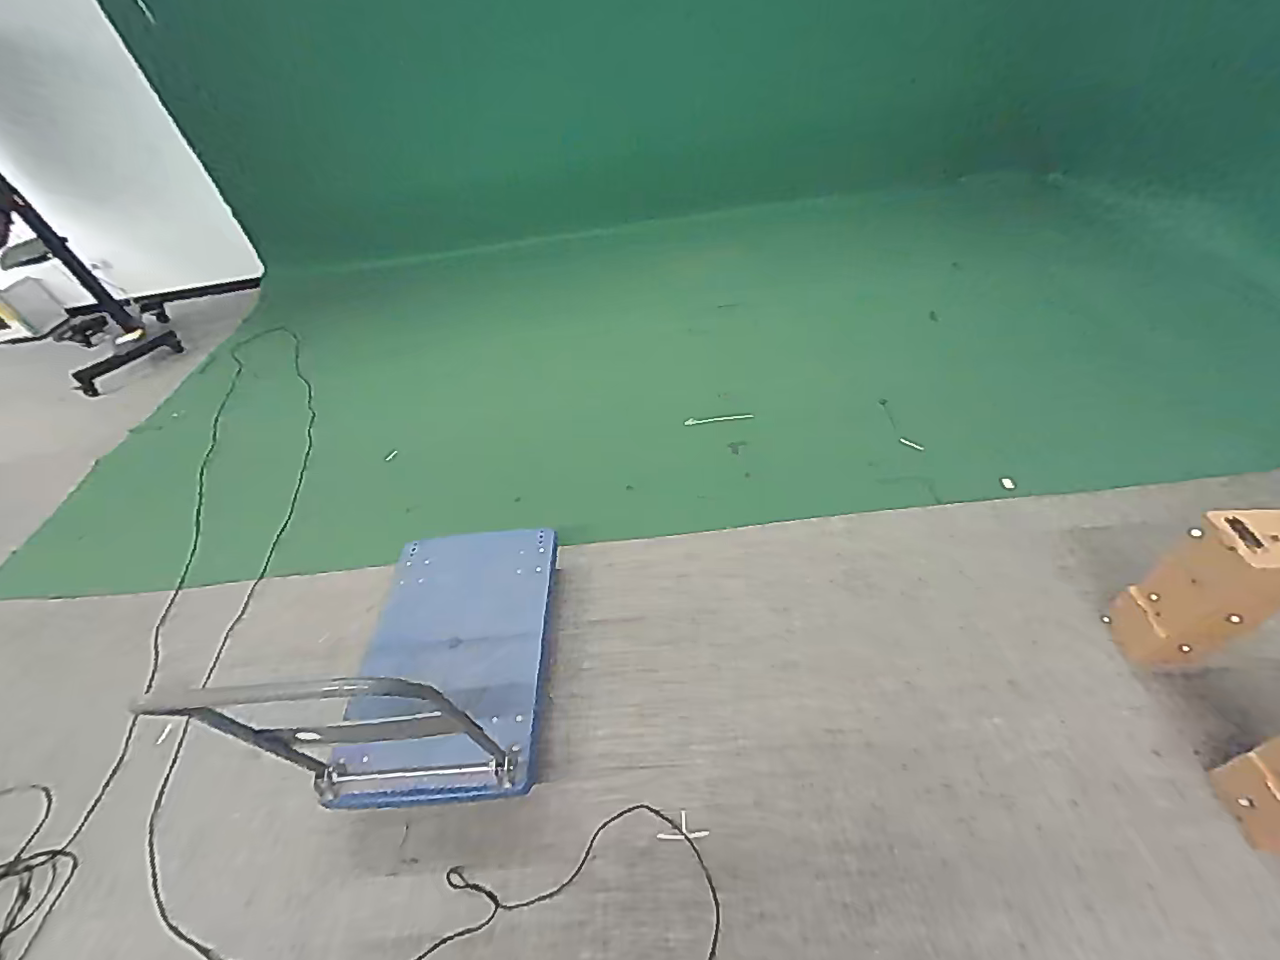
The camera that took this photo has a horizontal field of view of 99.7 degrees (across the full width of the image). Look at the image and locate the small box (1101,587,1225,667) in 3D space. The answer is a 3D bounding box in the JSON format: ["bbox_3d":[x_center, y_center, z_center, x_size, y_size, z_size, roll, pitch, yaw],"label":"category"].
[{"bbox_3d":[1.474,0.421,1.545,0.179,0.176,0.168,-2,47,7],"label":"small box"}]

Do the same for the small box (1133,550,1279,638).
[{"bbox_3d":[1.465,0.299,1.413,0.179,0.176,0.168,-3,46,8],"label":"small box"}]

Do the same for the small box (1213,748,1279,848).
[{"bbox_3d":[1.475,0.721,1.226,0.179,0.176,0.168,-5,45,7],"label":"small box"}]

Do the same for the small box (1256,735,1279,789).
[{"bbox_3d":[1.463,0.606,1.109,0.179,0.176,0.168,-2,45,9],"label":"small box"}]
